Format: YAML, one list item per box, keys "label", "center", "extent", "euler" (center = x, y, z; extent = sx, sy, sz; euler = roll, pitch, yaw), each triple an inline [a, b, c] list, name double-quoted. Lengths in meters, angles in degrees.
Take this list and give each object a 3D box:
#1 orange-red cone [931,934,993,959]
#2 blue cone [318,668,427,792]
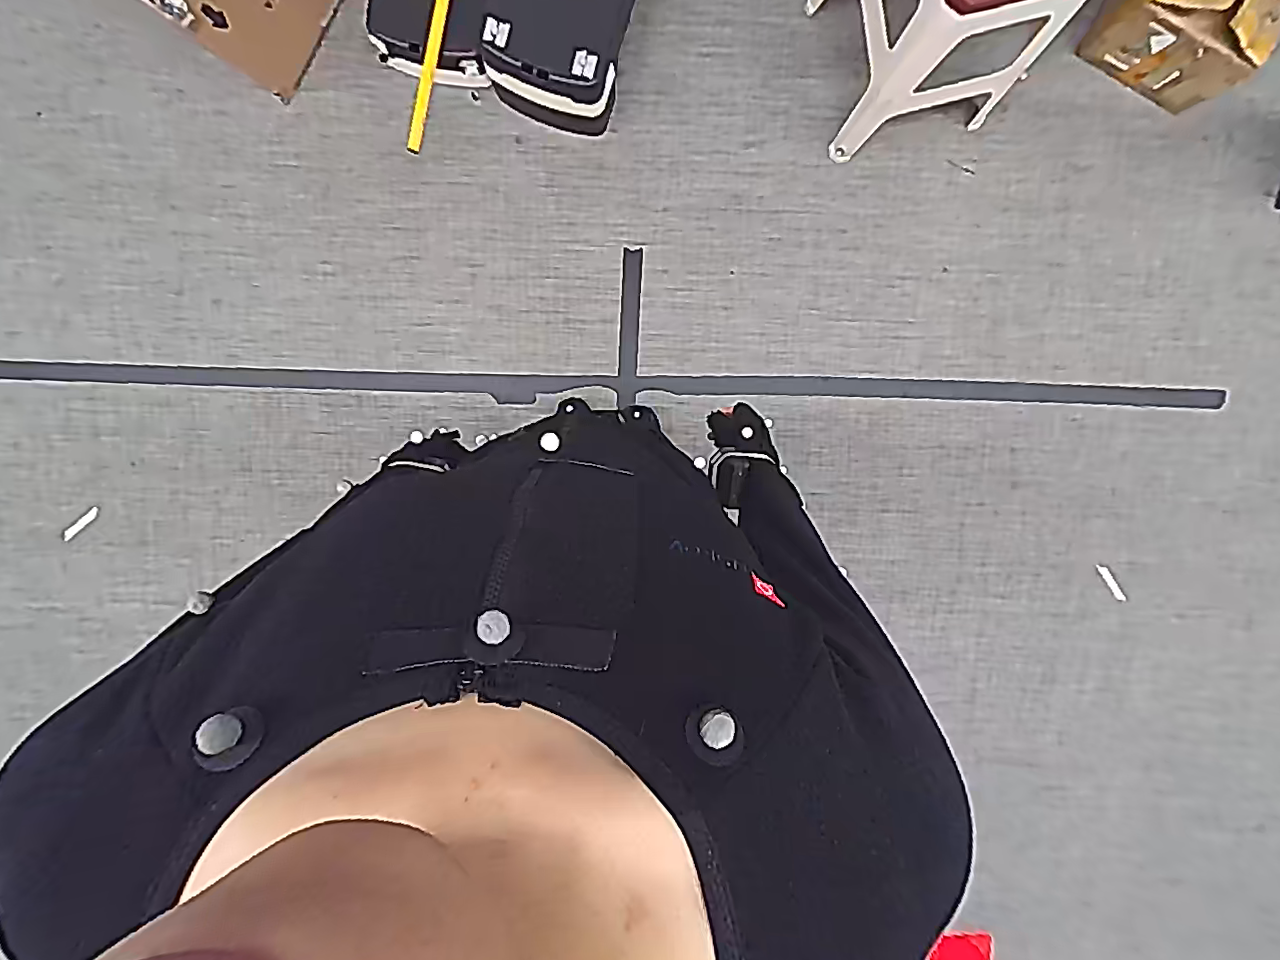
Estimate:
- label: "orange-red cone"
  center: [1.019, 1.548, 1.543]
  extent: [0.198, 0.360, 0.199]
  euler: [-2, 98, 0]
- label: "blue cone"
  center: [-0.726, 0.669, 1.415]
  extent: [0.192, 0.380, 0.193]
  euler: [-3, 99, 1]
